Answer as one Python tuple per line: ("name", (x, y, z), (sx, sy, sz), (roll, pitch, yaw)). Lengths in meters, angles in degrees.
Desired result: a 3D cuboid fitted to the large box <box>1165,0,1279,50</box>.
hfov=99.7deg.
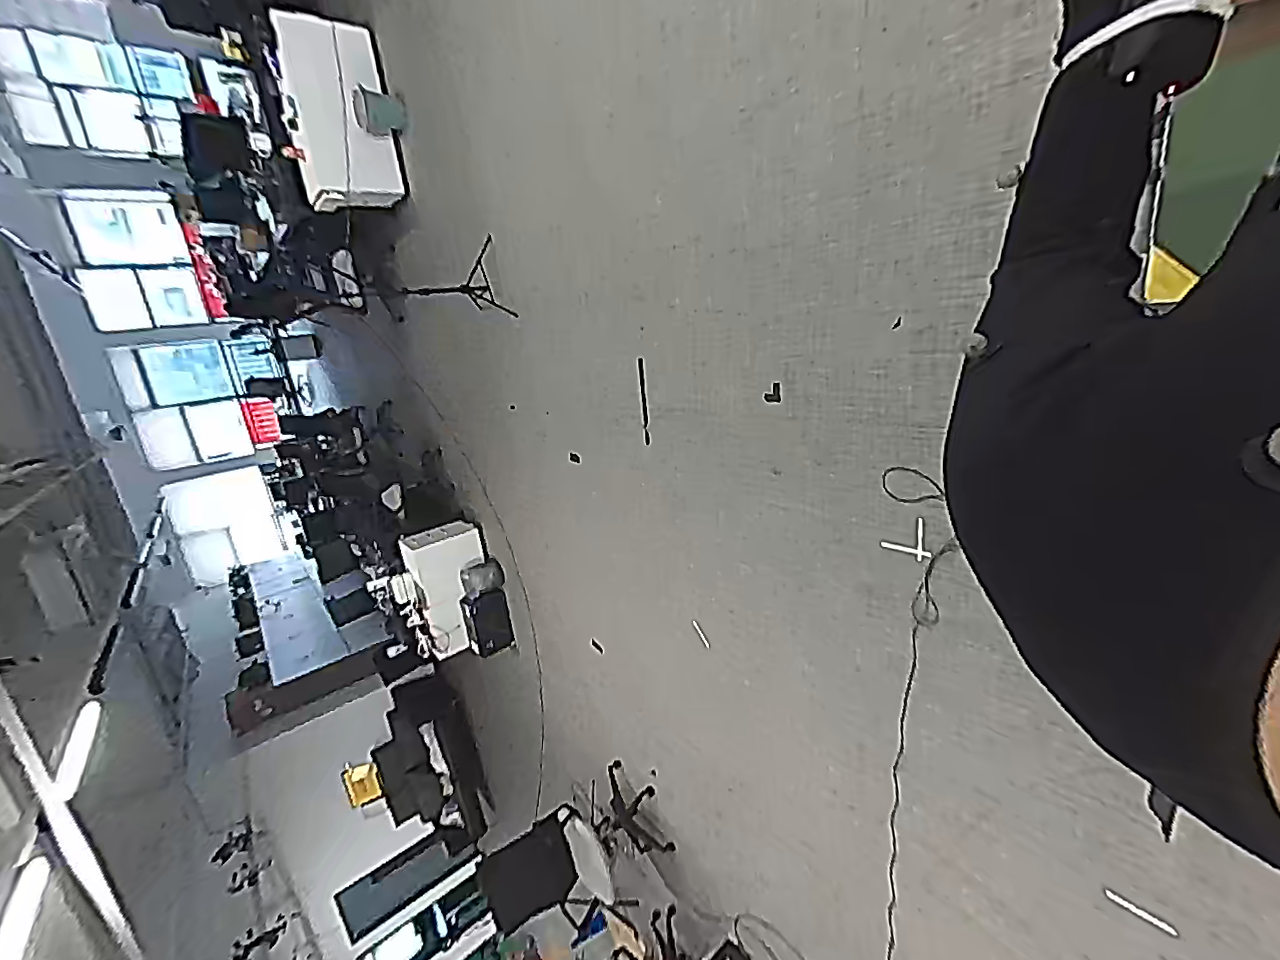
("large box", (0.583, -0.521, 0.290), (0.408, 0.320, 0.320), (7, 118, 50))
